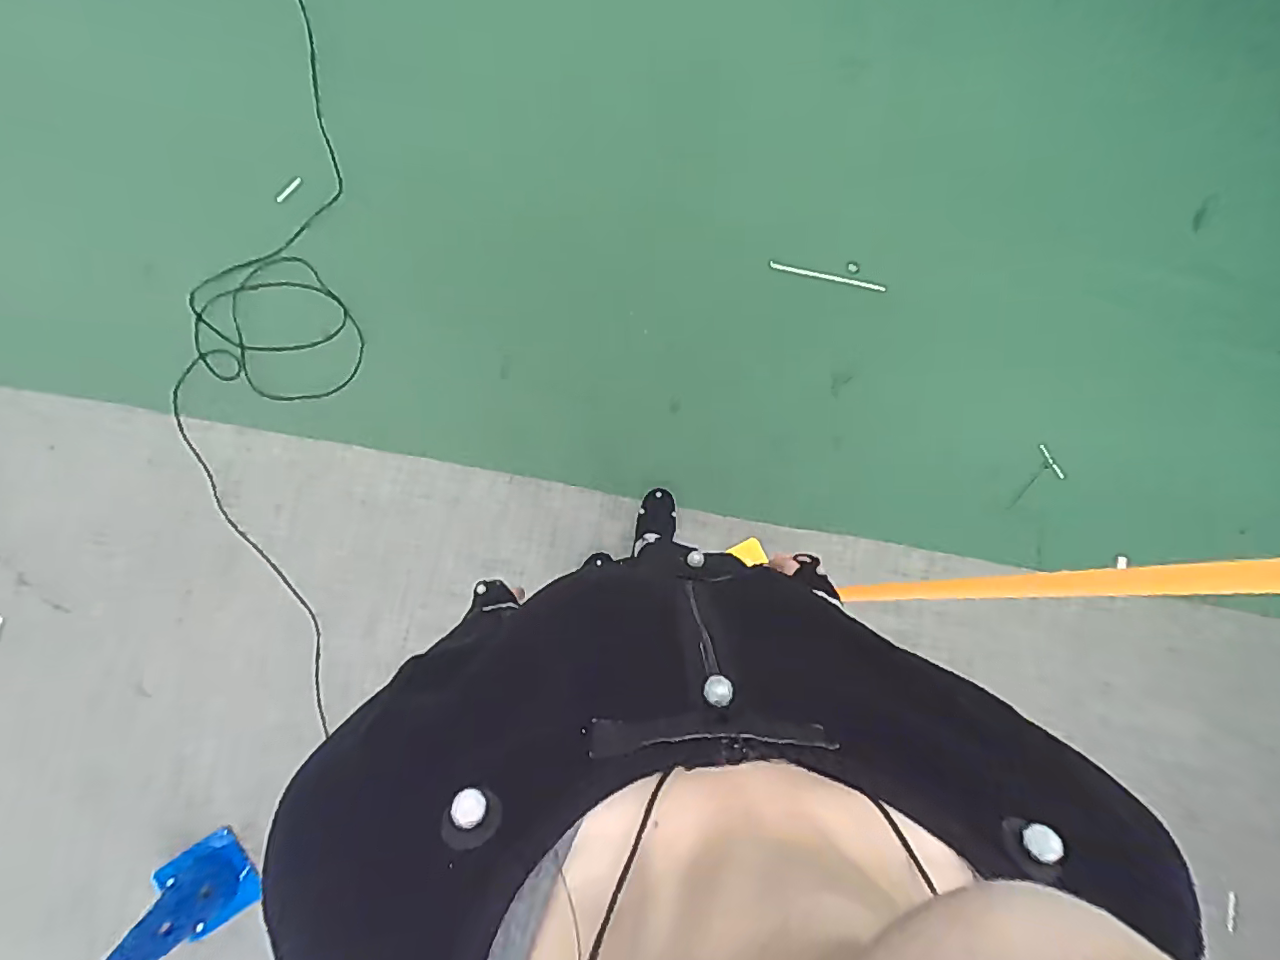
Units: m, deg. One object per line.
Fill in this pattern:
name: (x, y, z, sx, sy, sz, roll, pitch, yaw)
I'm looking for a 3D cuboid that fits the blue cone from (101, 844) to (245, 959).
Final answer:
blue cone: (-1.039, 0.977, 1.115, 0.193, 0.380, 0.192, -34, 89, -7)
